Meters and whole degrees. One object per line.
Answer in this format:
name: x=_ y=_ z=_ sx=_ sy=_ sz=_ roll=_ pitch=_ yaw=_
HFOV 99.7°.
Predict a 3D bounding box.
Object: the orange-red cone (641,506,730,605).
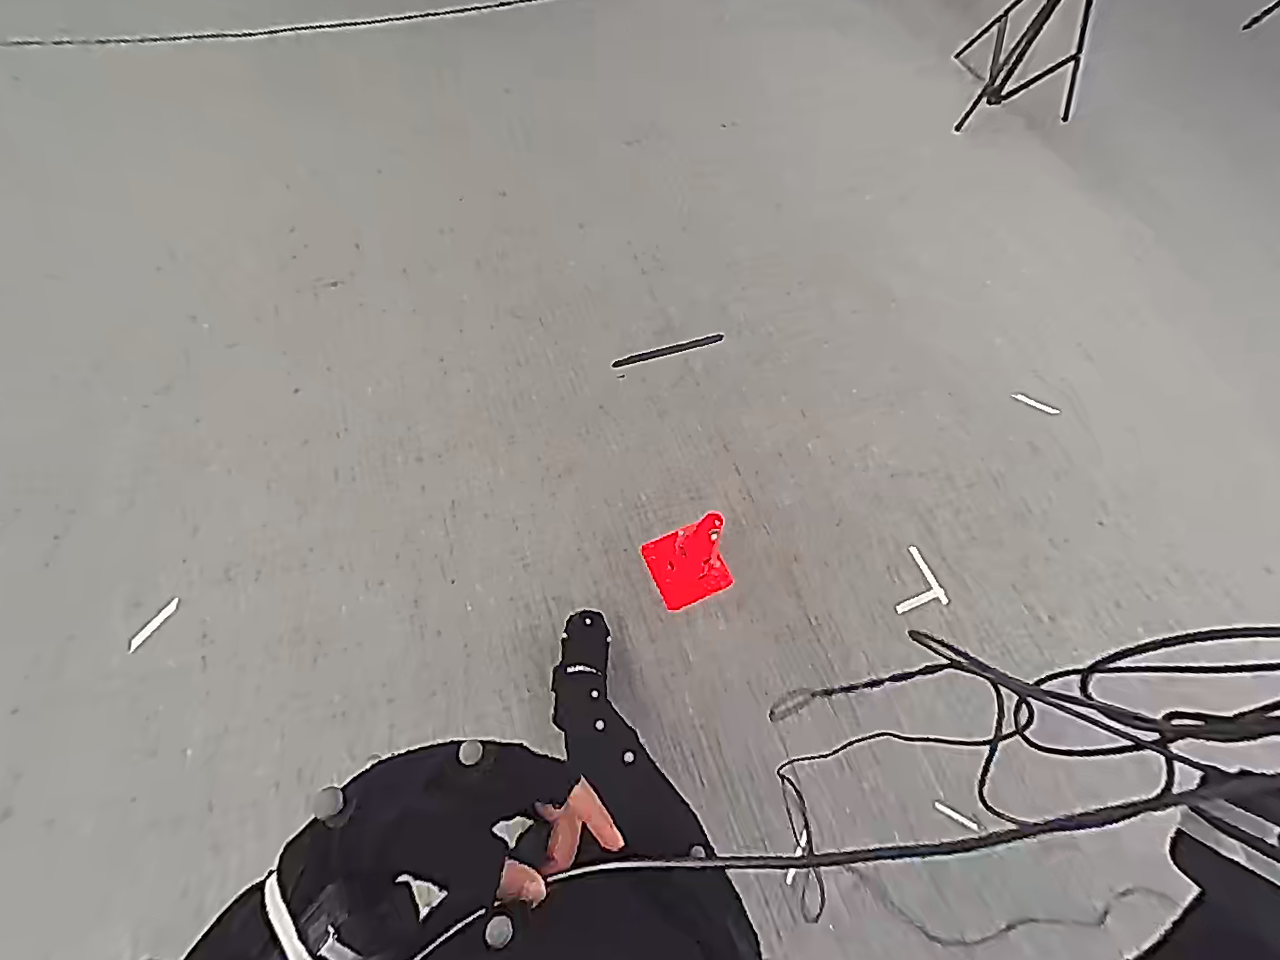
orange-red cone: x=0.133 y=0.147 z=1.291 sx=0.199 sy=0.360 sz=0.198 roll=-21 pitch=68 yaw=-13
